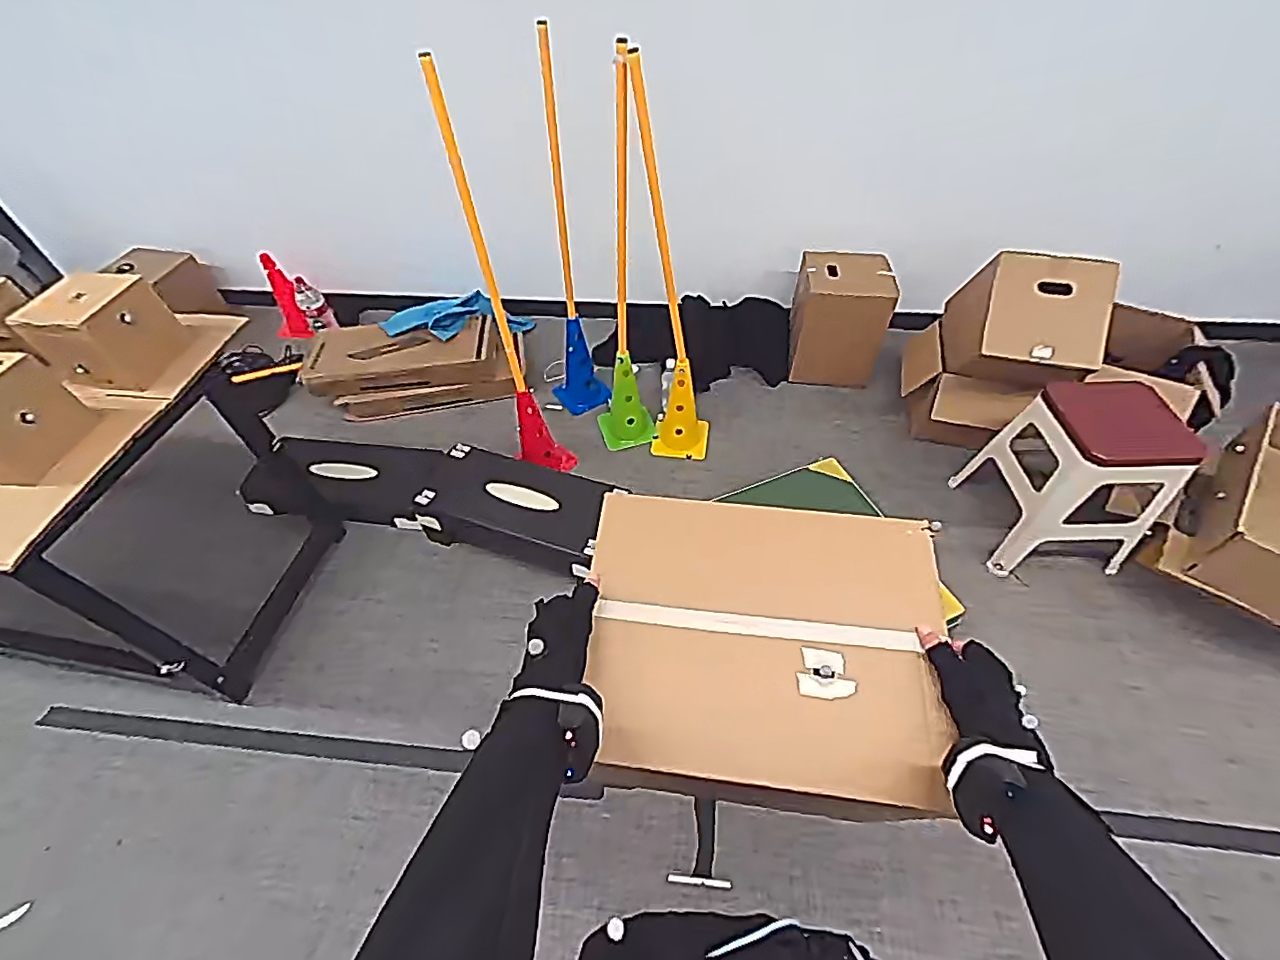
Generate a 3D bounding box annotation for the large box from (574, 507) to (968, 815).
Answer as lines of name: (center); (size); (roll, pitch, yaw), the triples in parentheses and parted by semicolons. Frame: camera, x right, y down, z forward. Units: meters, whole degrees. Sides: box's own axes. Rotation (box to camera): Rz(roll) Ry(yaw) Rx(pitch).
large box: (0.145, 0.258, 0.748); (0.408, 0.320, 0.320); (5, 58, 5)
